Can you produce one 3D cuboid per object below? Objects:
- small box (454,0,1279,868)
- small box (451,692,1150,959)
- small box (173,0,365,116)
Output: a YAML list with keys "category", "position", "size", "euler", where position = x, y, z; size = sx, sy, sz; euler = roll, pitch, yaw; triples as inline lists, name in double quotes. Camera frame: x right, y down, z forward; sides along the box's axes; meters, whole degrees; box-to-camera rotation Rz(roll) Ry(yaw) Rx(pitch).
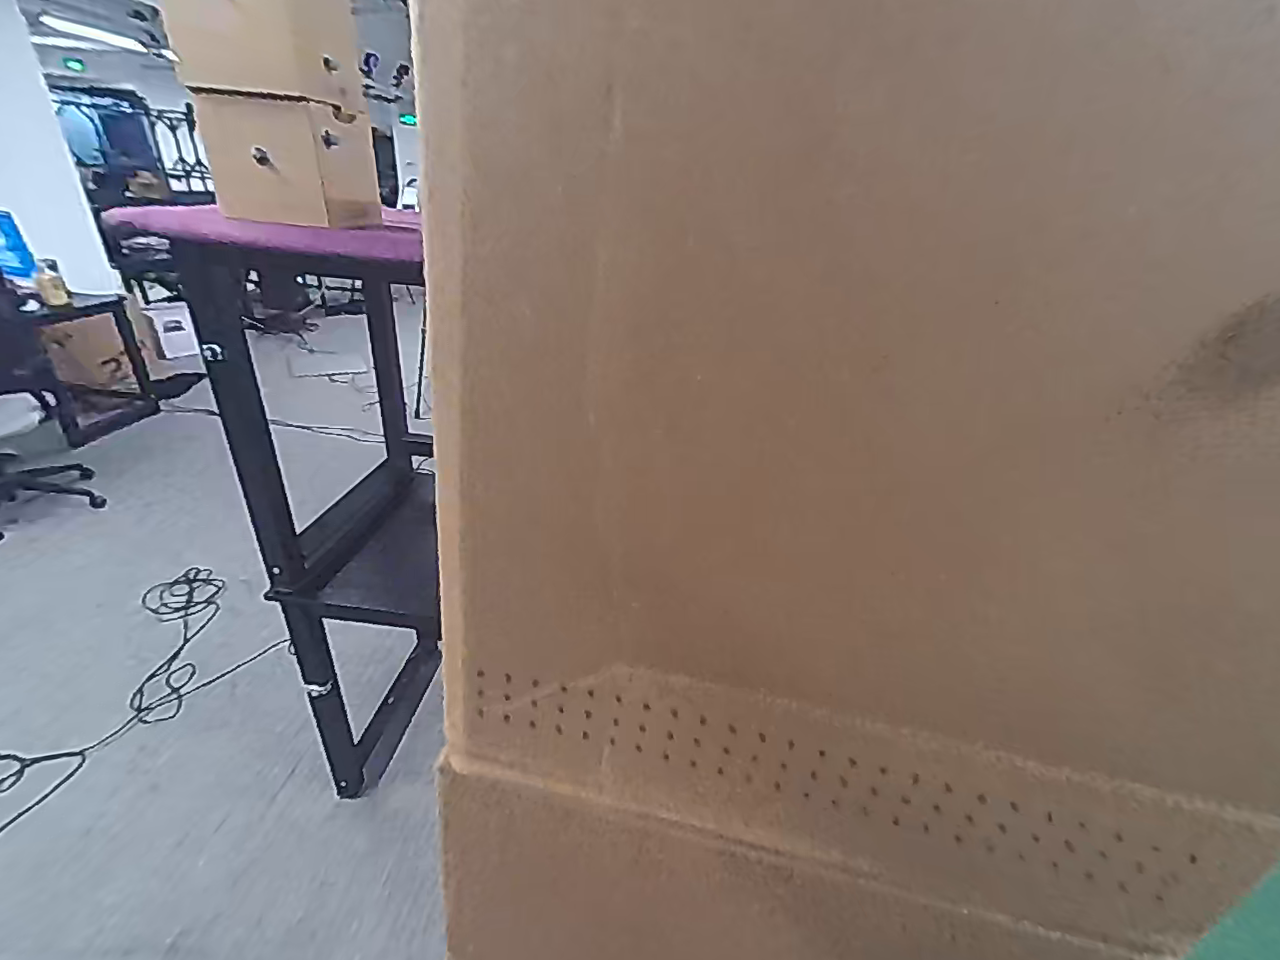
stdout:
- category: "small box"
  position: [0.059, -0.023, 0.173]
  size: [0.179, 0.176, 0.168]
  euler: [12, 25, 7]
- category: "small box"
  position: [0.038, 0.125, 0.237]
  size: [0.179, 0.176, 0.168]
  euler: [10, 25, 6]
- category: "small box"
  position: [-0.527, -0.639, 0.776]
  size: [0.179, 0.176, 0.168]
  euler: [7, 28, 1]
